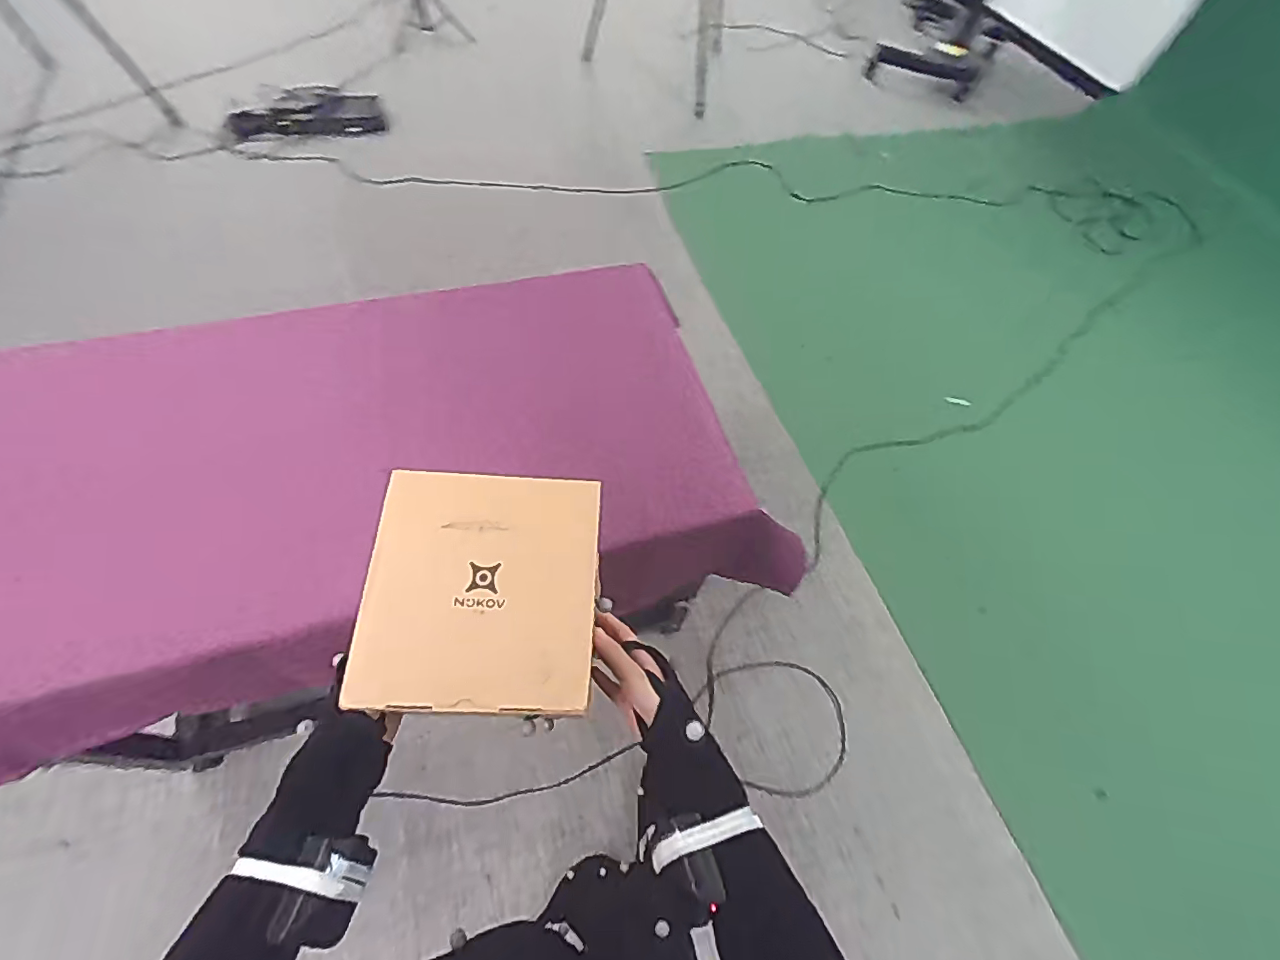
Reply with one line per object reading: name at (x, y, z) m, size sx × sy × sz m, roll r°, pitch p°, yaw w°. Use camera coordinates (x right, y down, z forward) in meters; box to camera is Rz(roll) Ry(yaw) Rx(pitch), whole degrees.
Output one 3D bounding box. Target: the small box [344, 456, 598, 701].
small box at (-0.125, 0.097, 0.477) m, size 0.168 × 0.176 × 0.179 m, roll 4°, pitch 65°, yaw -5°
